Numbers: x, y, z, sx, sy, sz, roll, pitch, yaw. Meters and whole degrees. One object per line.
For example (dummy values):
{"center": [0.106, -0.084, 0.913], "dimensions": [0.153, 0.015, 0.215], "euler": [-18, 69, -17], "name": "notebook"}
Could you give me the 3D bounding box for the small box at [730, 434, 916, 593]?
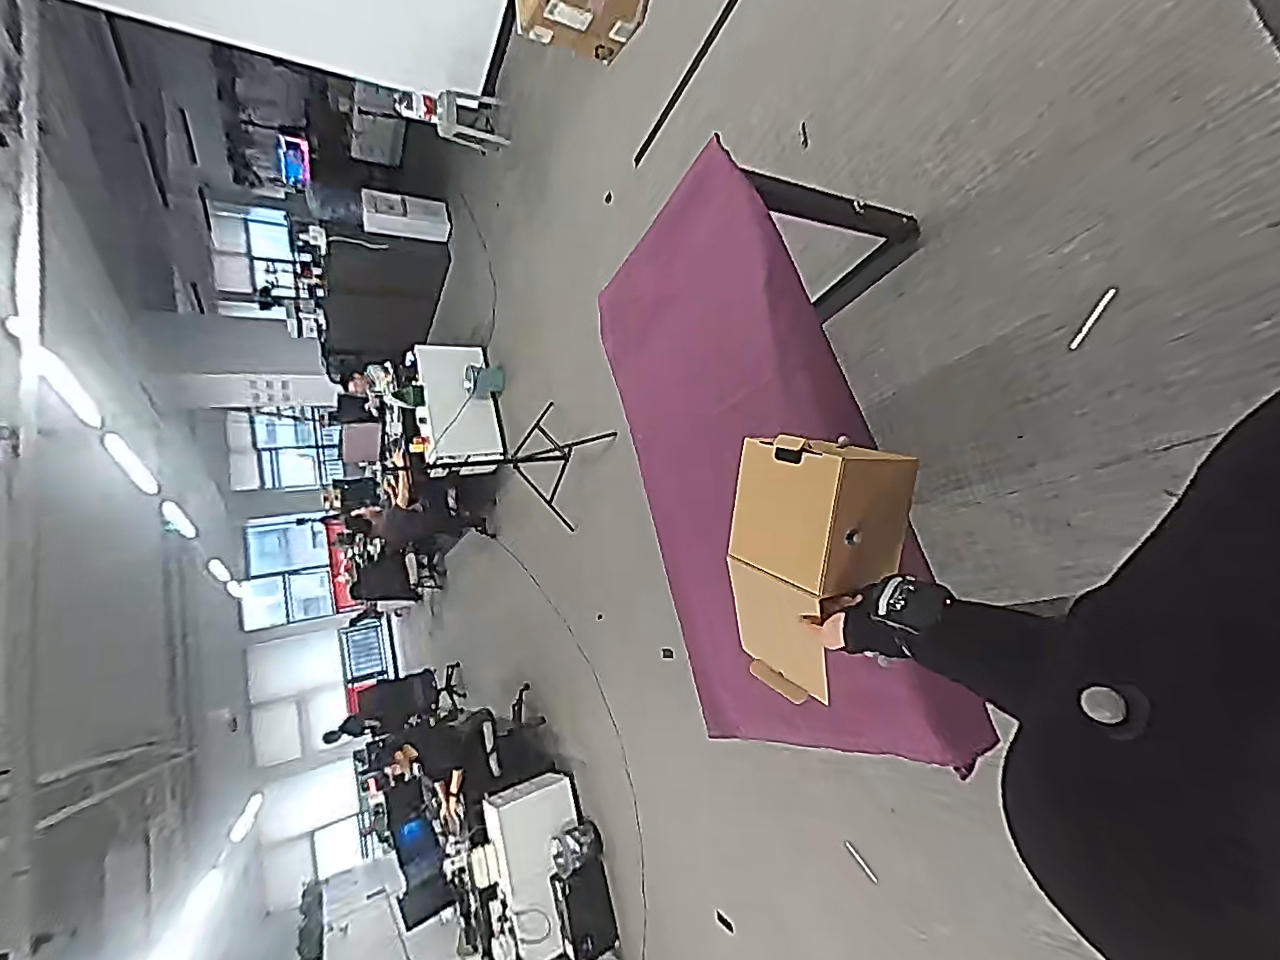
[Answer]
{"center": [0.251, 0.037, 0.748], "dimensions": [0.168, 0.176, 0.179], "euler": [21, 107, 54], "name": "small box"}
